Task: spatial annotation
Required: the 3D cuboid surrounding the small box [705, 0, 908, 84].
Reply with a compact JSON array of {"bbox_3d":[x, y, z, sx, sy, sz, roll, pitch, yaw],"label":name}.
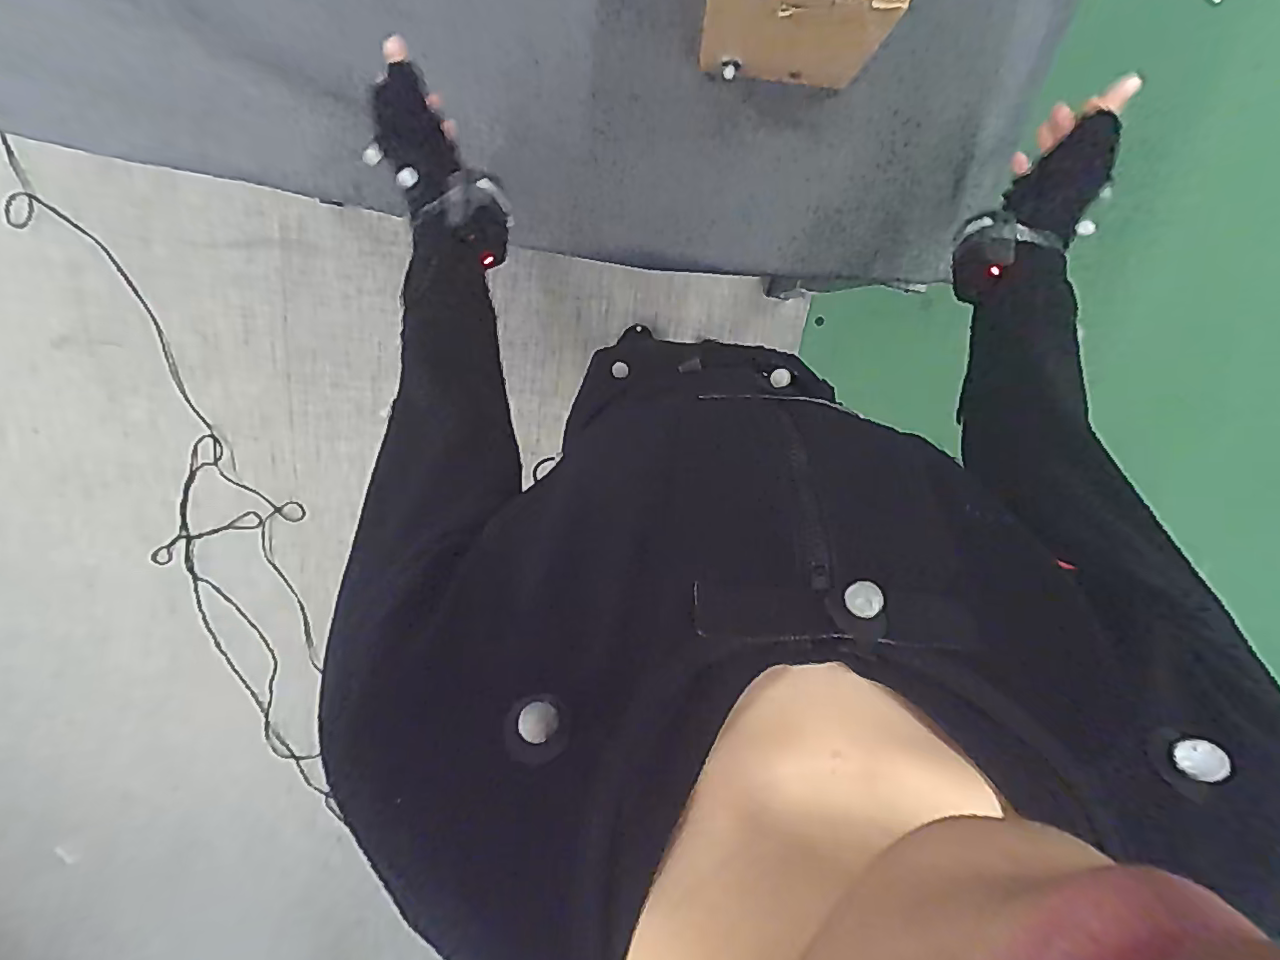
[{"bbox_3d":[0.155,-0.498,0.492,0.168,0.176,0.179,7,106,0],"label":"small box"}]
